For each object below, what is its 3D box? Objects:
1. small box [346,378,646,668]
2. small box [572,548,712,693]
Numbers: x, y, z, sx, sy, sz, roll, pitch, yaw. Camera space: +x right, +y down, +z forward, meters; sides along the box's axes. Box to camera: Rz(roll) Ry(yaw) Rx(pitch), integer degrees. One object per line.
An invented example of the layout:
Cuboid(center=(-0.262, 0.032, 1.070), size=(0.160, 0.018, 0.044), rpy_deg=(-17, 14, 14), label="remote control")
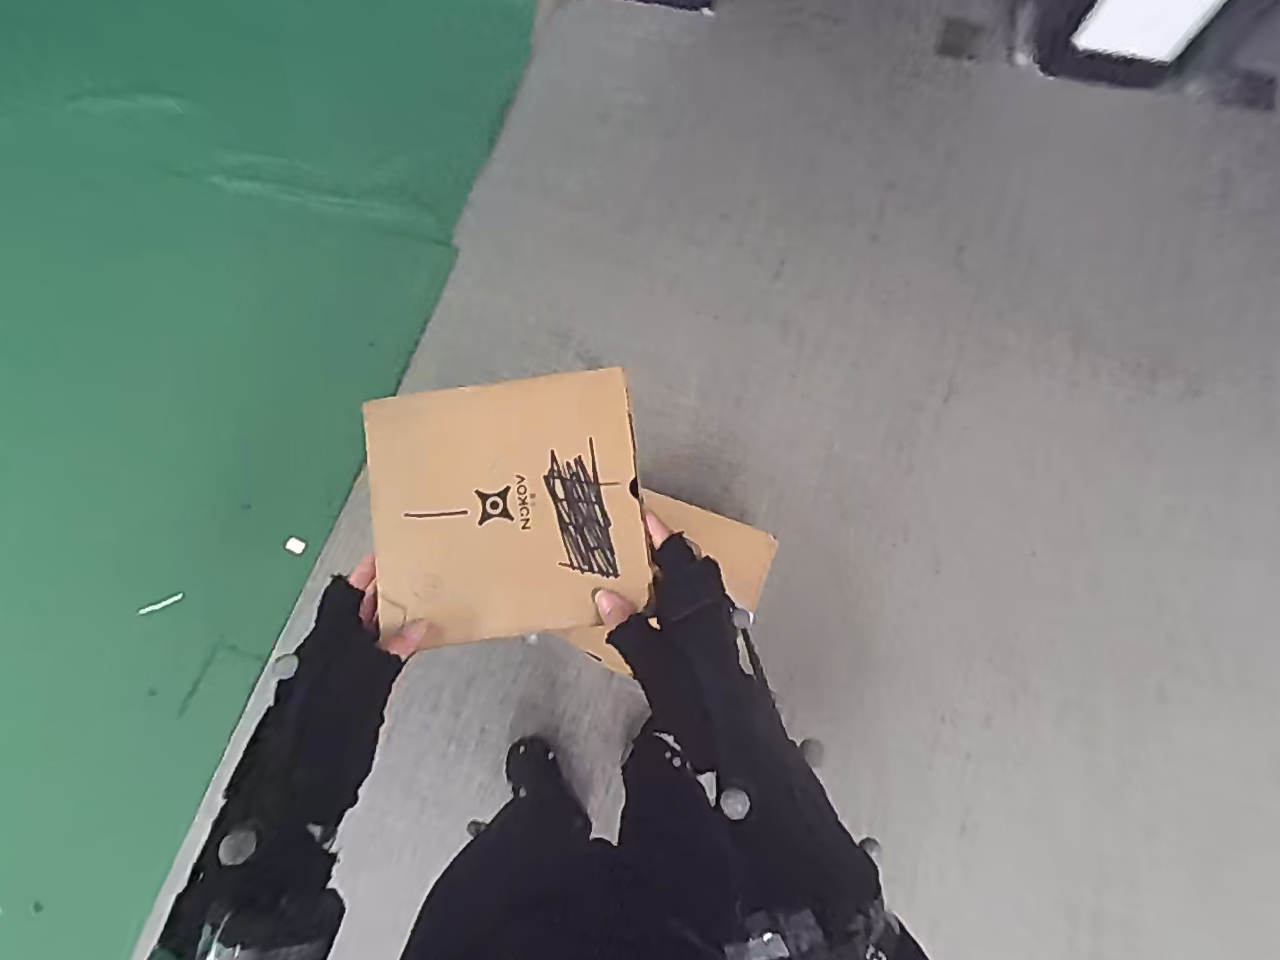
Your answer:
Cuboid(center=(-0.095, 0.034, 0.425), size=(0.179, 0.176, 0.168), rpy_deg=(-10, 82, -1), label="small box")
Cuboid(center=(0.014, 0.217, 0.886), size=(0.168, 0.176, 0.179), rpy_deg=(22, 83, 11), label="small box")
